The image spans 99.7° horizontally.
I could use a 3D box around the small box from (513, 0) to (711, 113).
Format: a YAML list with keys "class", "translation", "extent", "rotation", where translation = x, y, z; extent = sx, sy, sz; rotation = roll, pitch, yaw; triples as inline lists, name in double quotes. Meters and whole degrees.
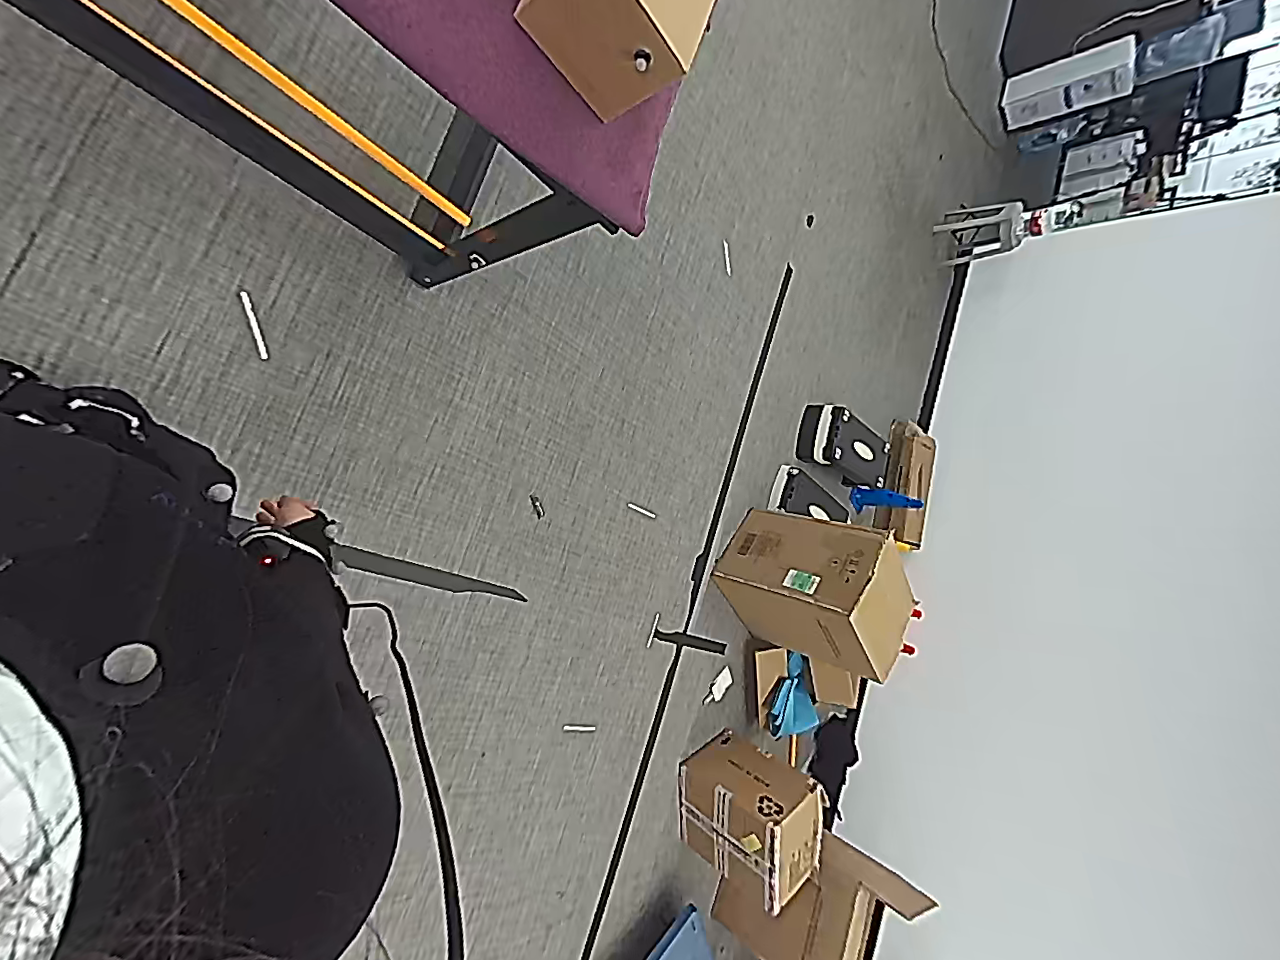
- class: "small box"
  translation: [-0.034, -0.636, 0.722]
  extent: [0.179, 0.176, 0.168]
  rotation: [30, 73, -43]
